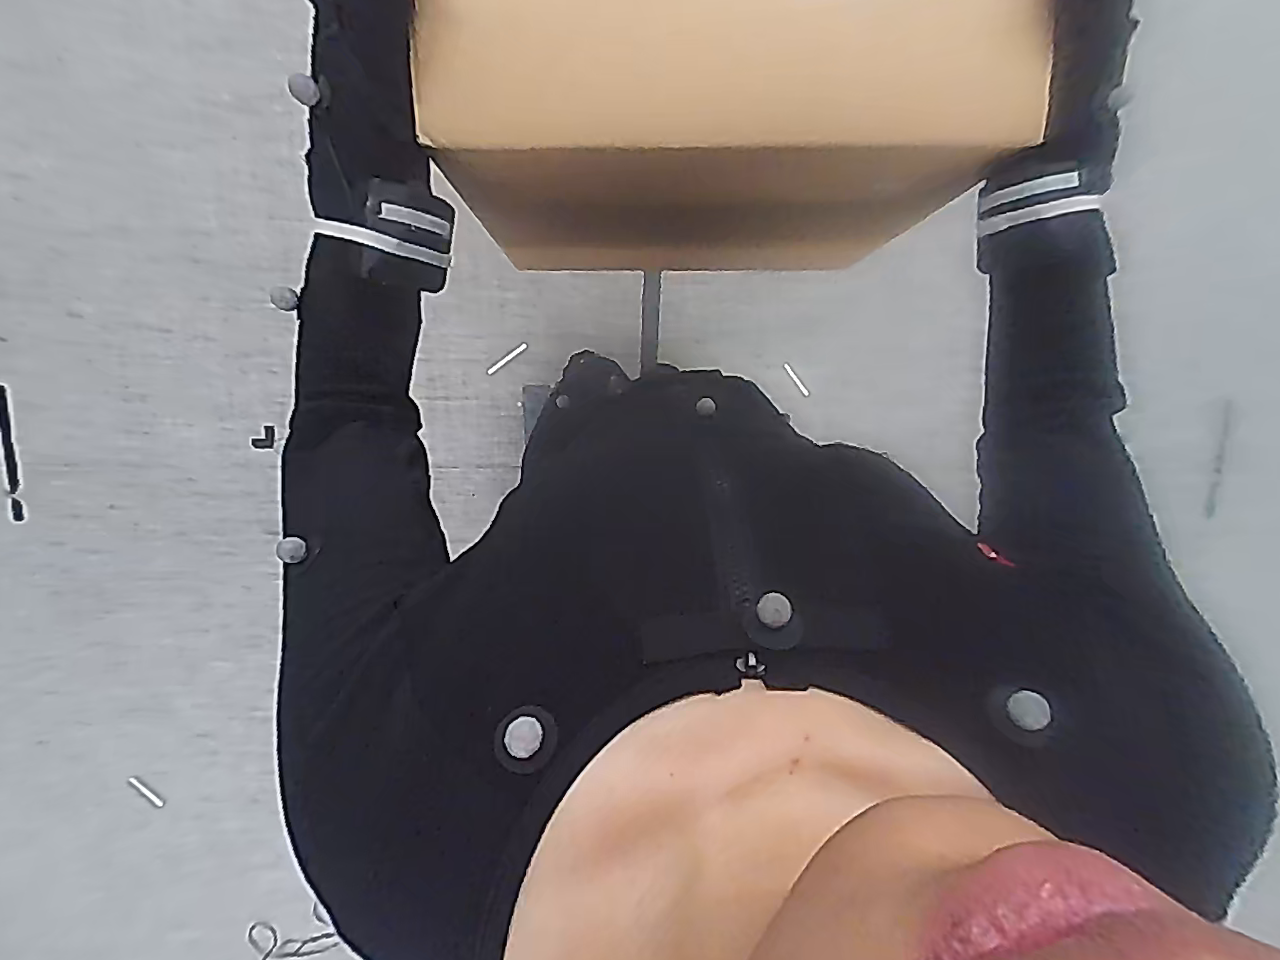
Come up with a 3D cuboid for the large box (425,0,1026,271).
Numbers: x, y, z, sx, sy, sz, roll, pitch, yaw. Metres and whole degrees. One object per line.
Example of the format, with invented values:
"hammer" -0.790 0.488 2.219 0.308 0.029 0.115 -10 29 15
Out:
"large box" 0.051 -0.394 0.495 0.408 0.320 0.320 -1 97 -2
